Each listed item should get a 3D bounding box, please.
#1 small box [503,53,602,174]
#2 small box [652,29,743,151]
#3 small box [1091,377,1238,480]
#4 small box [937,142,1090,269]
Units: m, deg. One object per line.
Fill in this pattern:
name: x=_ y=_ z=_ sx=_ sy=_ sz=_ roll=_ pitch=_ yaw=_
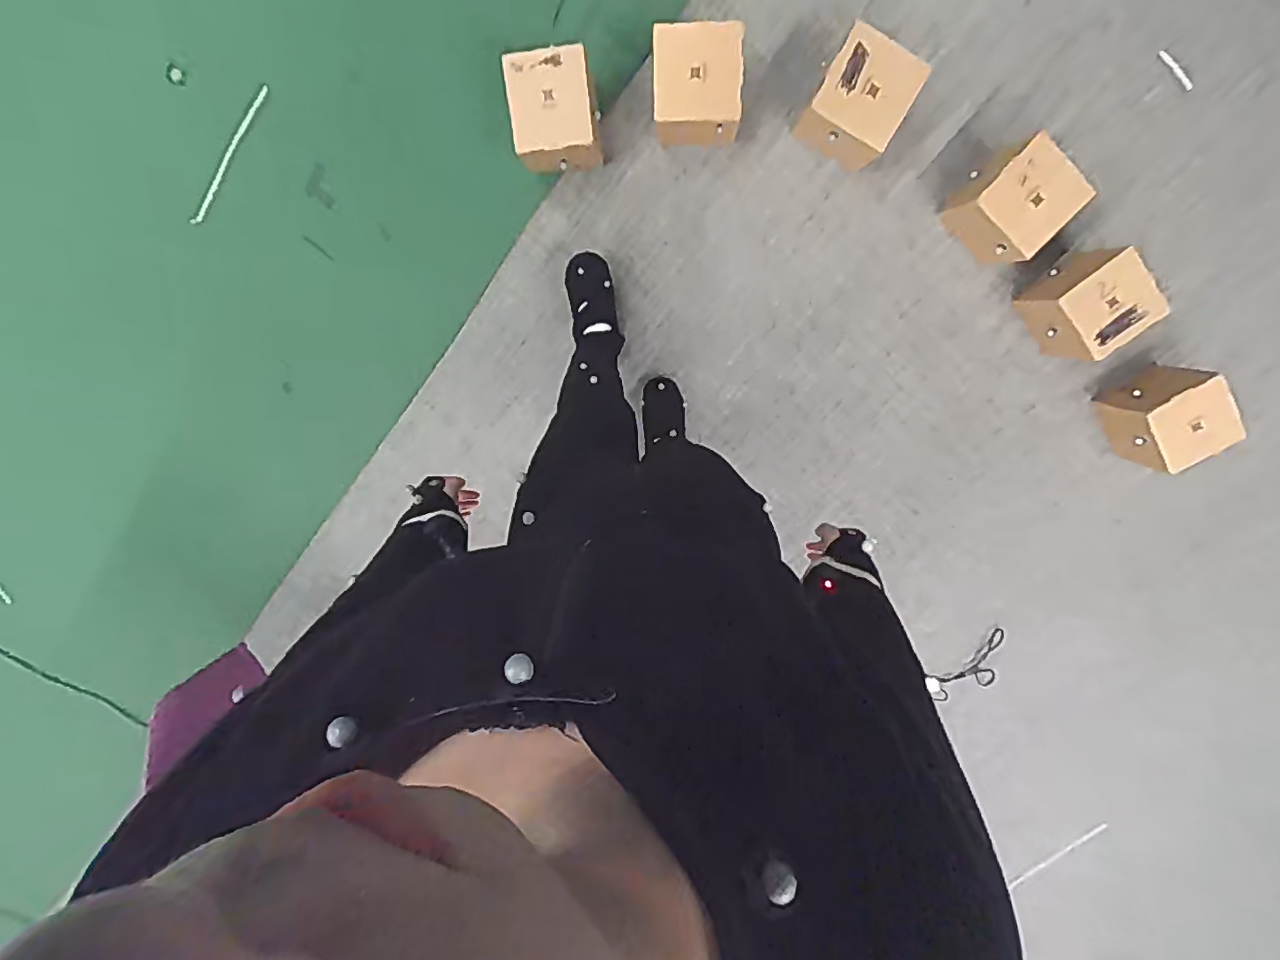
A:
small box: x=-0.178 y=-0.772 z=1.162 sx=0.168 sy=0.176 sz=0.179 roll=-4 pitch=108 yaw=4
small box: x=0.117 y=-0.808 z=1.138 sx=0.179 sy=0.176 sz=0.168 roll=0 pitch=107 yaw=3
small box: x=1.236 y=-0.131 z=1.288 sx=0.168 sy=0.176 sz=0.179 roll=-31 pitch=104 yaw=12
small box: x=0.794 y=-0.579 z=1.169 sx=0.179 sy=0.176 sz=0.168 roll=40 pitch=105 yaw=-9
